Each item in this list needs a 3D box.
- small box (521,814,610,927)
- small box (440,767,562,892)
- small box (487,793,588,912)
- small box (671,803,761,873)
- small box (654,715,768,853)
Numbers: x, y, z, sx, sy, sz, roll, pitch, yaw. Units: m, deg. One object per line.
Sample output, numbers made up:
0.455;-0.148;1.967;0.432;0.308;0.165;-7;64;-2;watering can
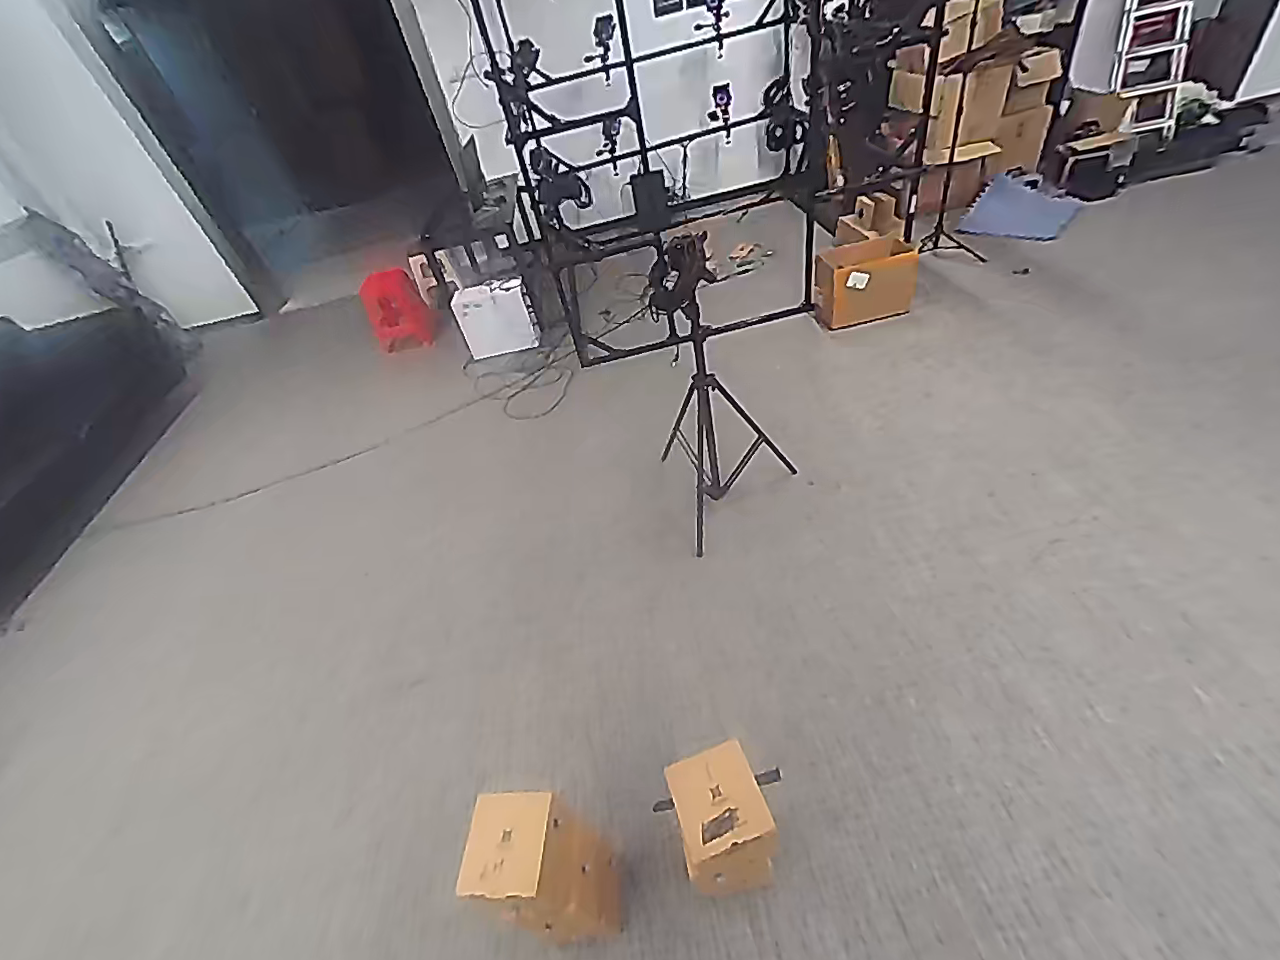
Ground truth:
-0.173;0.929;1.286;0.168;0.176;0.179;-13;42;5;small box
-0.264;0.695;1.078;0.168;0.176;0.179;-7;44;10;small box
-0.214;0.815;1.182;0.168;0.176;0.179;-11;43;6;small box
0.158;0.718;1.178;0.168;0.176;0.179;-14;42;0;small box
0.142;0.601;1.061;0.168;0.176;0.179;-19;43;-6;small box
